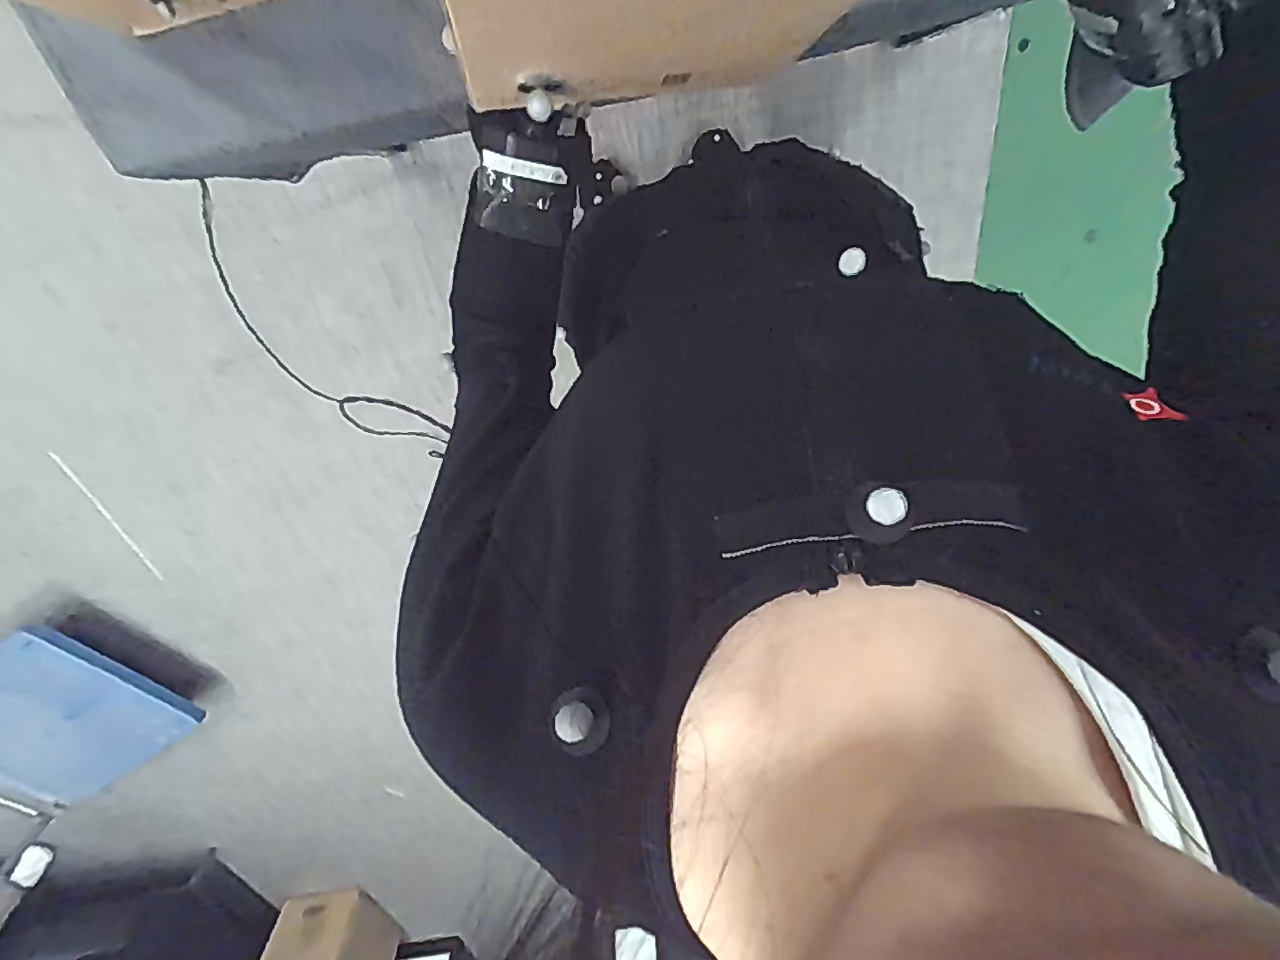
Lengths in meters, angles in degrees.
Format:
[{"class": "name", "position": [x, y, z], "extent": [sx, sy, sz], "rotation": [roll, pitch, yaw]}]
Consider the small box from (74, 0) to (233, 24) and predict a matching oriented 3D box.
[{"class": "small box", "position": [-0.408, -0.470, 0.385], "extent": [0.168, 0.176, 0.179], "rotation": [-13, 121, 3]}]

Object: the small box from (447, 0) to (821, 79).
[{"class": "small box", "position": [-0.003, -0.264, 0.177], "extent": [0.168, 0.176, 0.179], "rotation": [-11, 107, -7]}]
